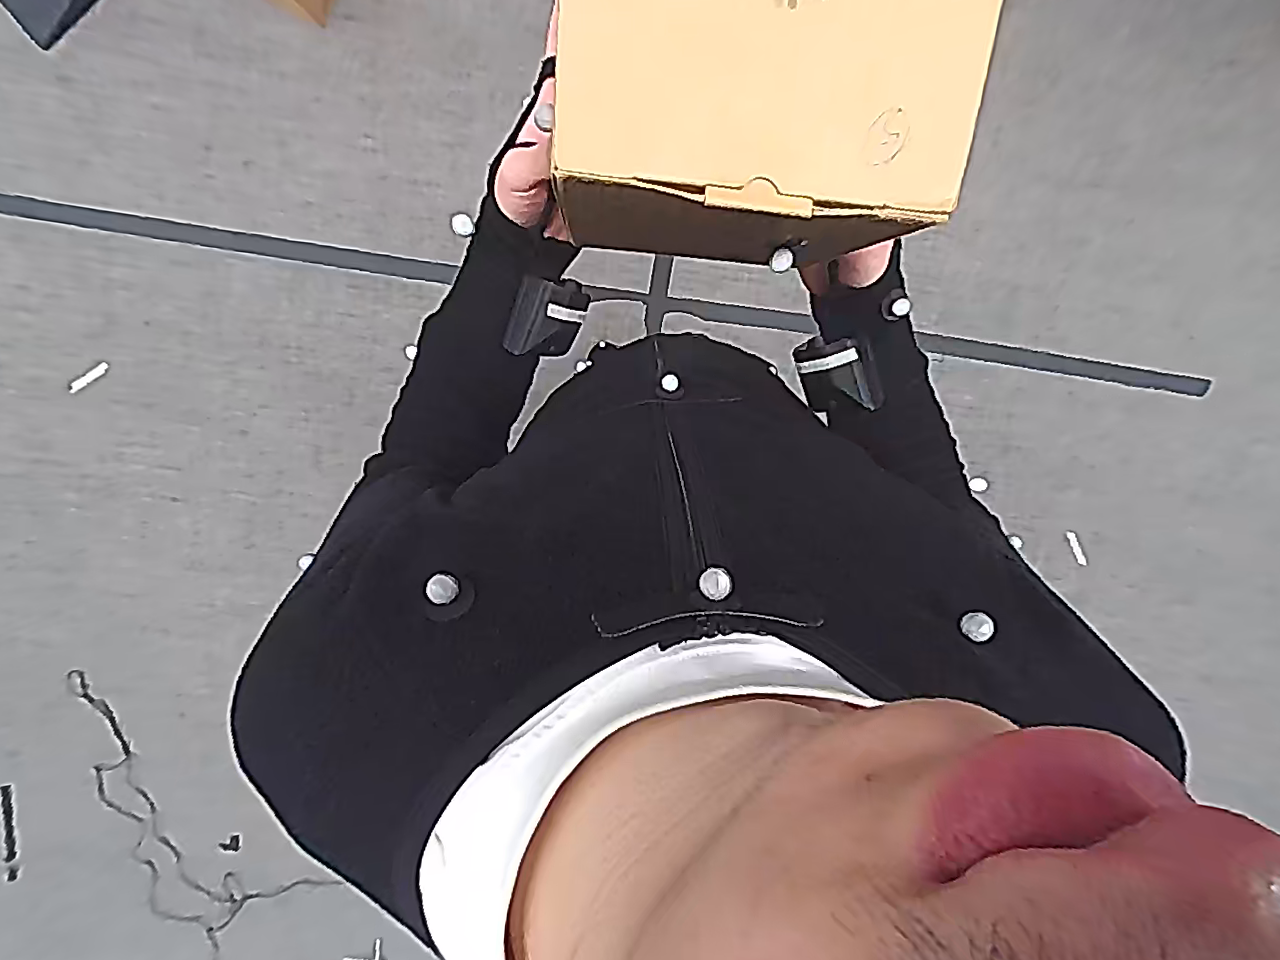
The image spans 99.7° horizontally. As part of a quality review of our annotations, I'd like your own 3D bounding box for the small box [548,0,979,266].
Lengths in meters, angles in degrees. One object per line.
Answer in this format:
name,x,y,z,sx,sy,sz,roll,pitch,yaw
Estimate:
small box,0.046,-0.218,0.282,0.168,0.176,0.179,4,104,-6
